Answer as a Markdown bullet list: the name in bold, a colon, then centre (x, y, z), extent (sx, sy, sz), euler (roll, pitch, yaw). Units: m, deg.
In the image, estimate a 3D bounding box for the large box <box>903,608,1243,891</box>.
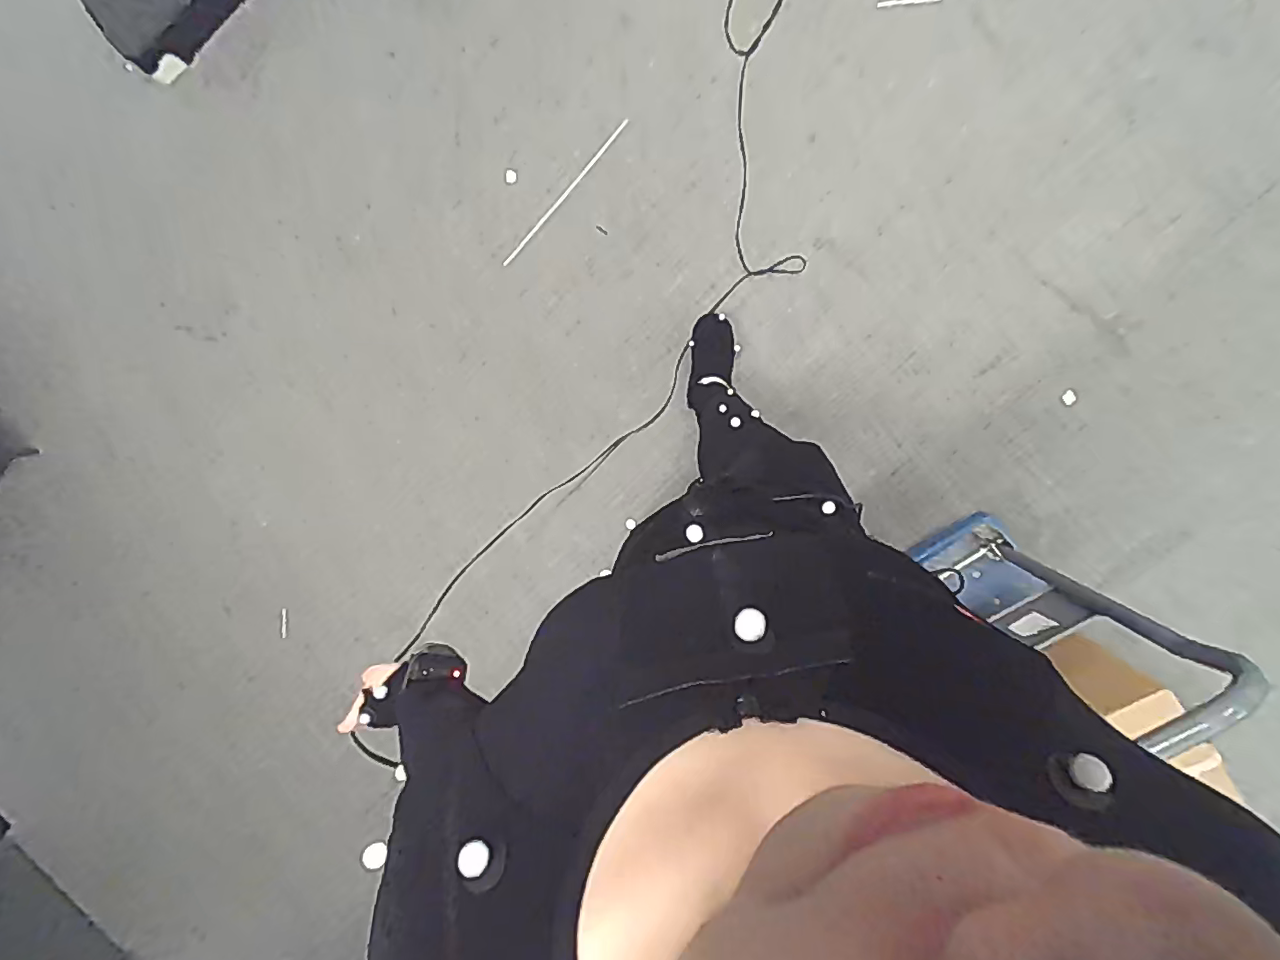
- **large box**: centre (0.863, 0.543, 1.148), extent (0.408, 0.320, 0.320), euler (-34, 91, 12)
